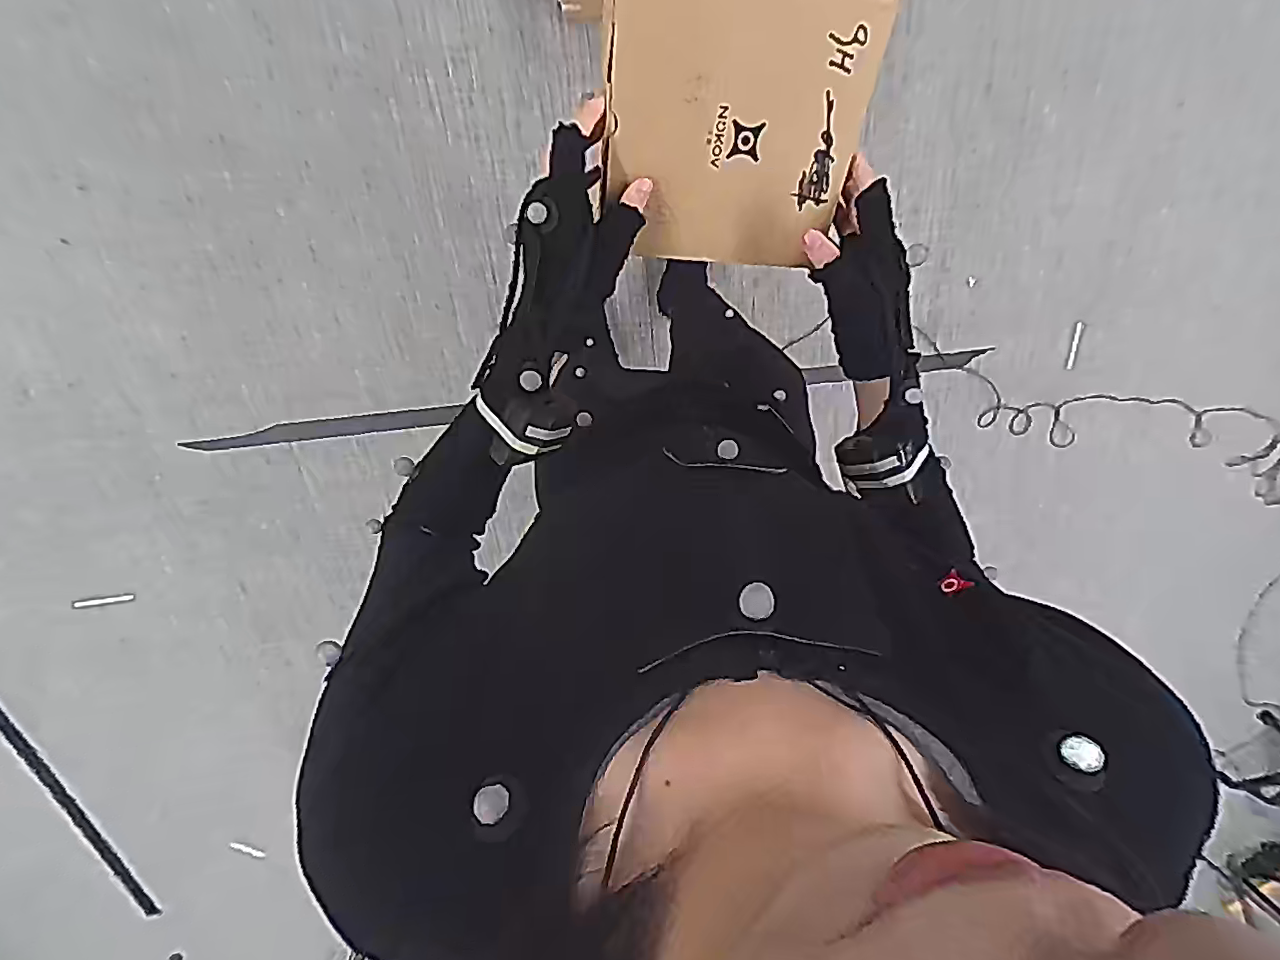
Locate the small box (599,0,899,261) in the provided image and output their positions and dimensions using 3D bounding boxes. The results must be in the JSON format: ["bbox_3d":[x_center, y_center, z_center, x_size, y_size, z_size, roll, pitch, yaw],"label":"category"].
[{"bbox_3d":[0.059,-0.288,0.427,0.179,0.176,0.168,2,128,-7],"label":"small box"}]

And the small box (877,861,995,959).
[{"bbox_3d":[0.655,1.010,1.218,0.168,0.176,0.179,-12,113,-4],"label":"small box"}]
